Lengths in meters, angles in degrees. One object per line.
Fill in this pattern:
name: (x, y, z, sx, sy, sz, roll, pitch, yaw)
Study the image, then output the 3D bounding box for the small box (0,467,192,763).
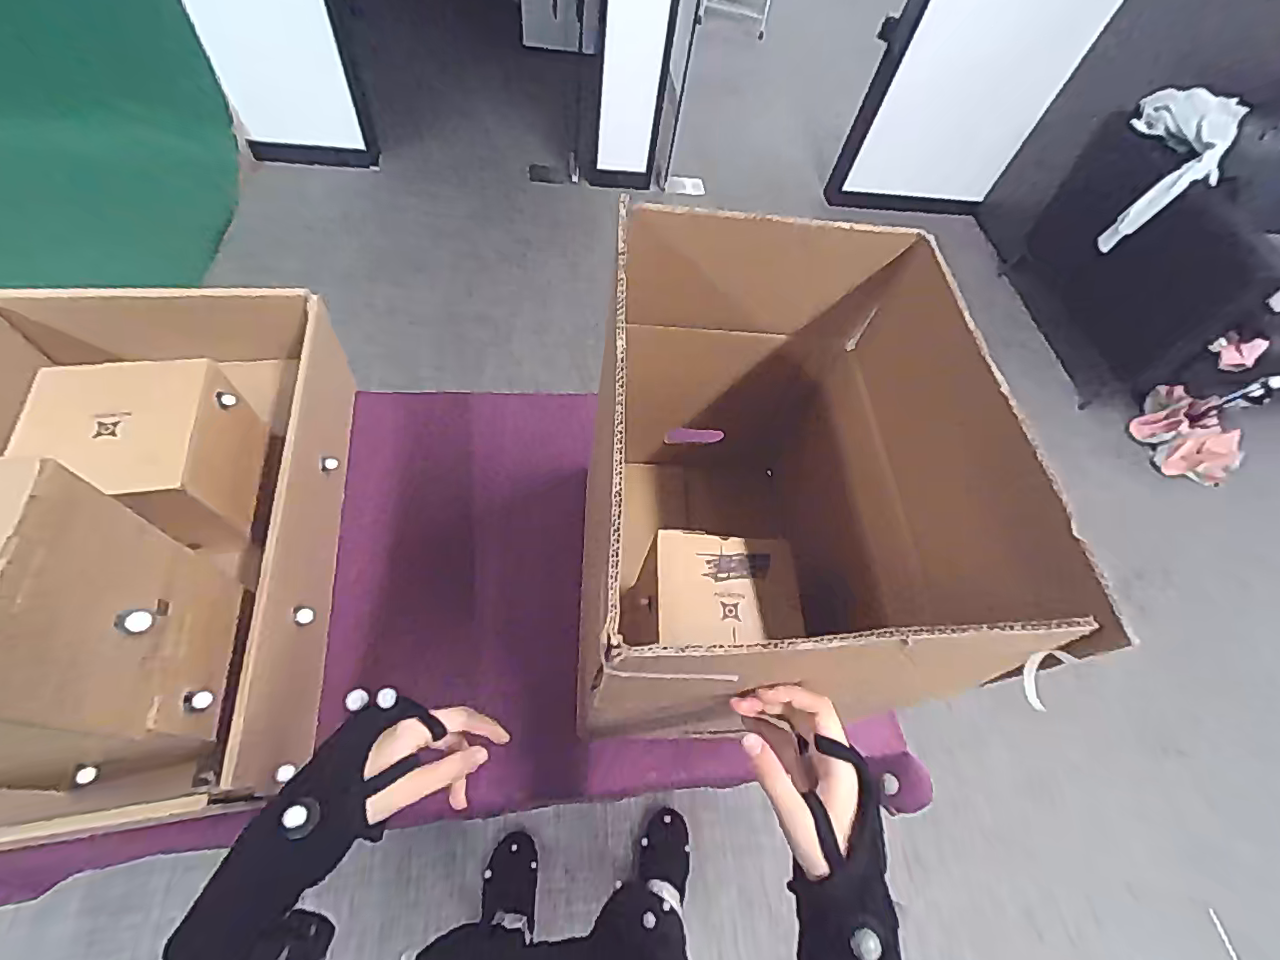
small box: (-0.483, 0.107, 0.386, 0.179, 0.176, 0.168, -3, 60, -10)

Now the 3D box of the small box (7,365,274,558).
small box: (-0.566, -0.010, 0.640, 0.168, 0.176, 0.179, -6, 60, -11)
